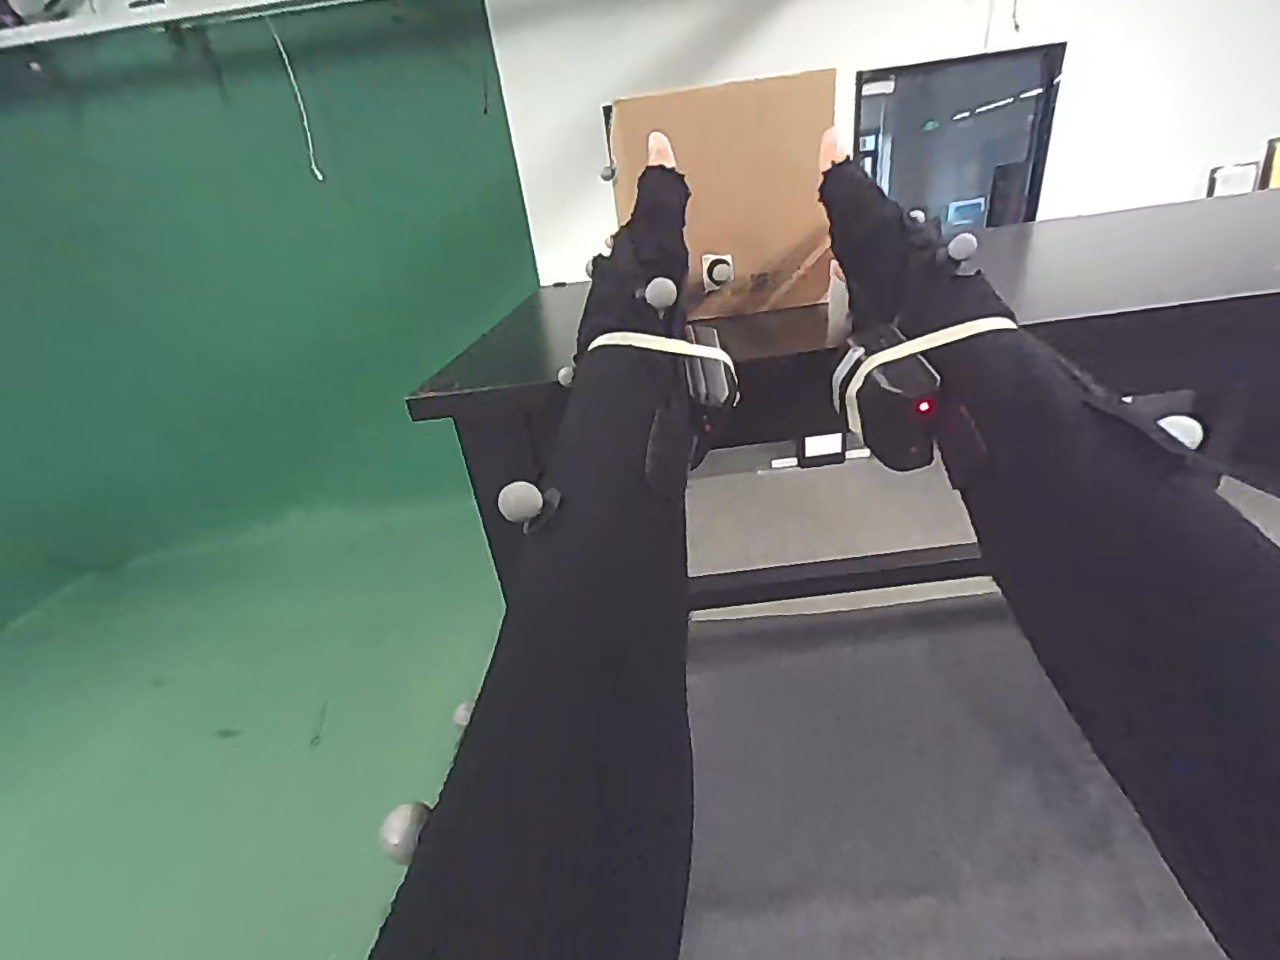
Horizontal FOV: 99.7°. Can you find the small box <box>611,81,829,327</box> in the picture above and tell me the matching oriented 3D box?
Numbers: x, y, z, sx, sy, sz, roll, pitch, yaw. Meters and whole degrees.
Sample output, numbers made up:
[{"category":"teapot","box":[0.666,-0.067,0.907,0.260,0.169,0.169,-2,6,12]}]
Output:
[{"category":"small box","box":[0.064,-0.247,0.509,0.168,0.176,0.179,-8,26,0]}]
